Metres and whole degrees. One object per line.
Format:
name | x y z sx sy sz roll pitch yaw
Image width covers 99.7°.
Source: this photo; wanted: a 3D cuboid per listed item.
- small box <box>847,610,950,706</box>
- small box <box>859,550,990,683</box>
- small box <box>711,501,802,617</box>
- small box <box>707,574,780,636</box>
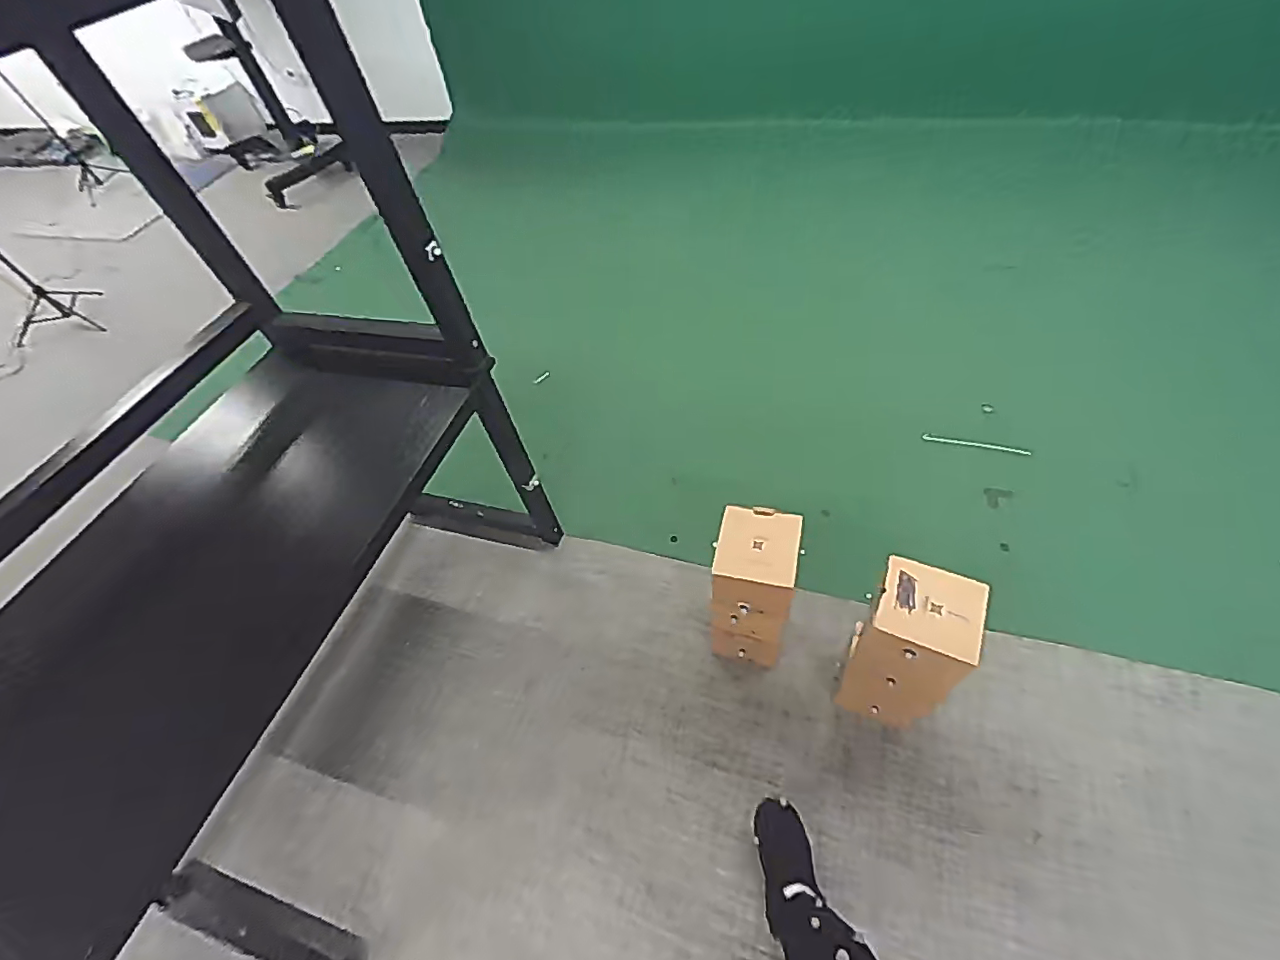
small box | 0.567 0.365 1.174 0.179 0.176 0.168 20 60 22
small box | 0.540 0.267 1.045 0.179 0.176 0.168 18 59 21
small box | 0.252 0.171 1.168 0.168 0.176 0.179 7 55 16
small box | 0.266 0.256 1.308 0.168 0.176 0.179 10 54 16
